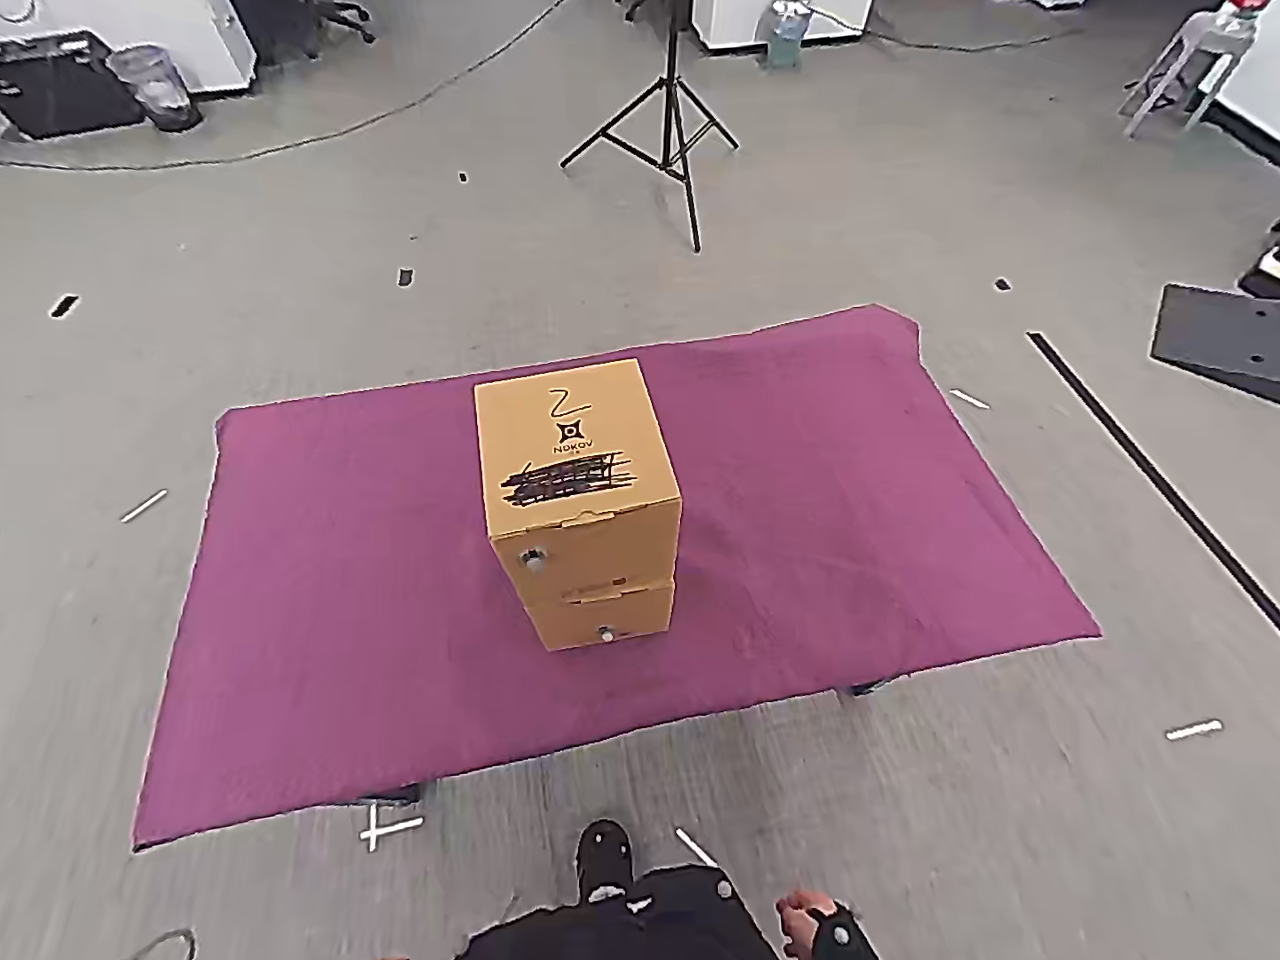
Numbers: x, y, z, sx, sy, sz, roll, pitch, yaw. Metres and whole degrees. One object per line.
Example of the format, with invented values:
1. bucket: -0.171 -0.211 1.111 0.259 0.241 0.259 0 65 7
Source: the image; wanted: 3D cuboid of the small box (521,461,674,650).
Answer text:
1. small box: -0.057 0.101 0.703 0.168 0.176 0.179 -9 58 -5
